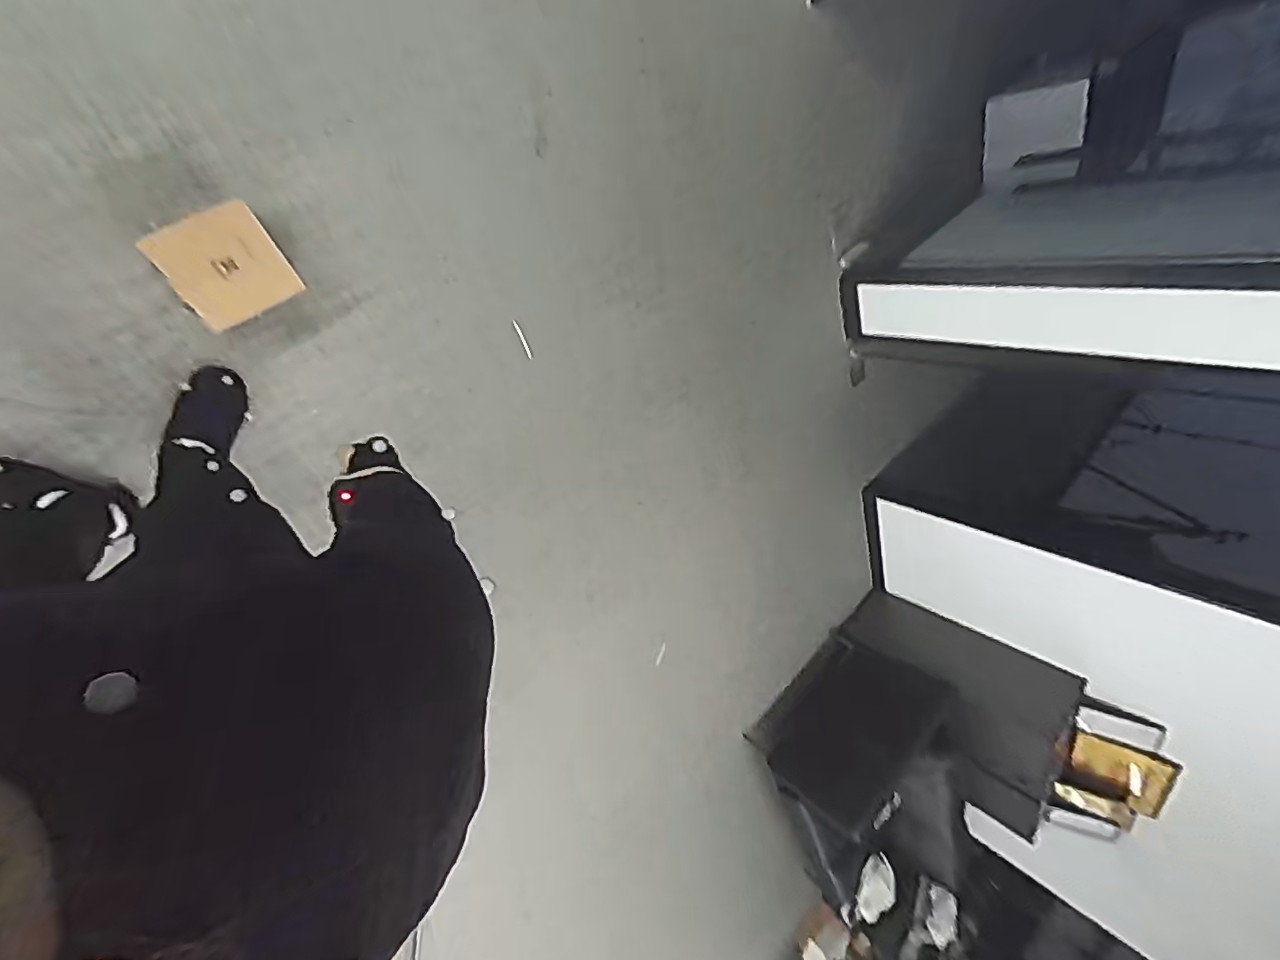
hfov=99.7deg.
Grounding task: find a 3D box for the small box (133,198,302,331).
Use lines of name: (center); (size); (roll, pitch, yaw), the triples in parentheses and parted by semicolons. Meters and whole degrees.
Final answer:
small box: (-0.761, -0.391, 0.985); (0.179, 0.176, 0.168); (-40, 129, -23)
